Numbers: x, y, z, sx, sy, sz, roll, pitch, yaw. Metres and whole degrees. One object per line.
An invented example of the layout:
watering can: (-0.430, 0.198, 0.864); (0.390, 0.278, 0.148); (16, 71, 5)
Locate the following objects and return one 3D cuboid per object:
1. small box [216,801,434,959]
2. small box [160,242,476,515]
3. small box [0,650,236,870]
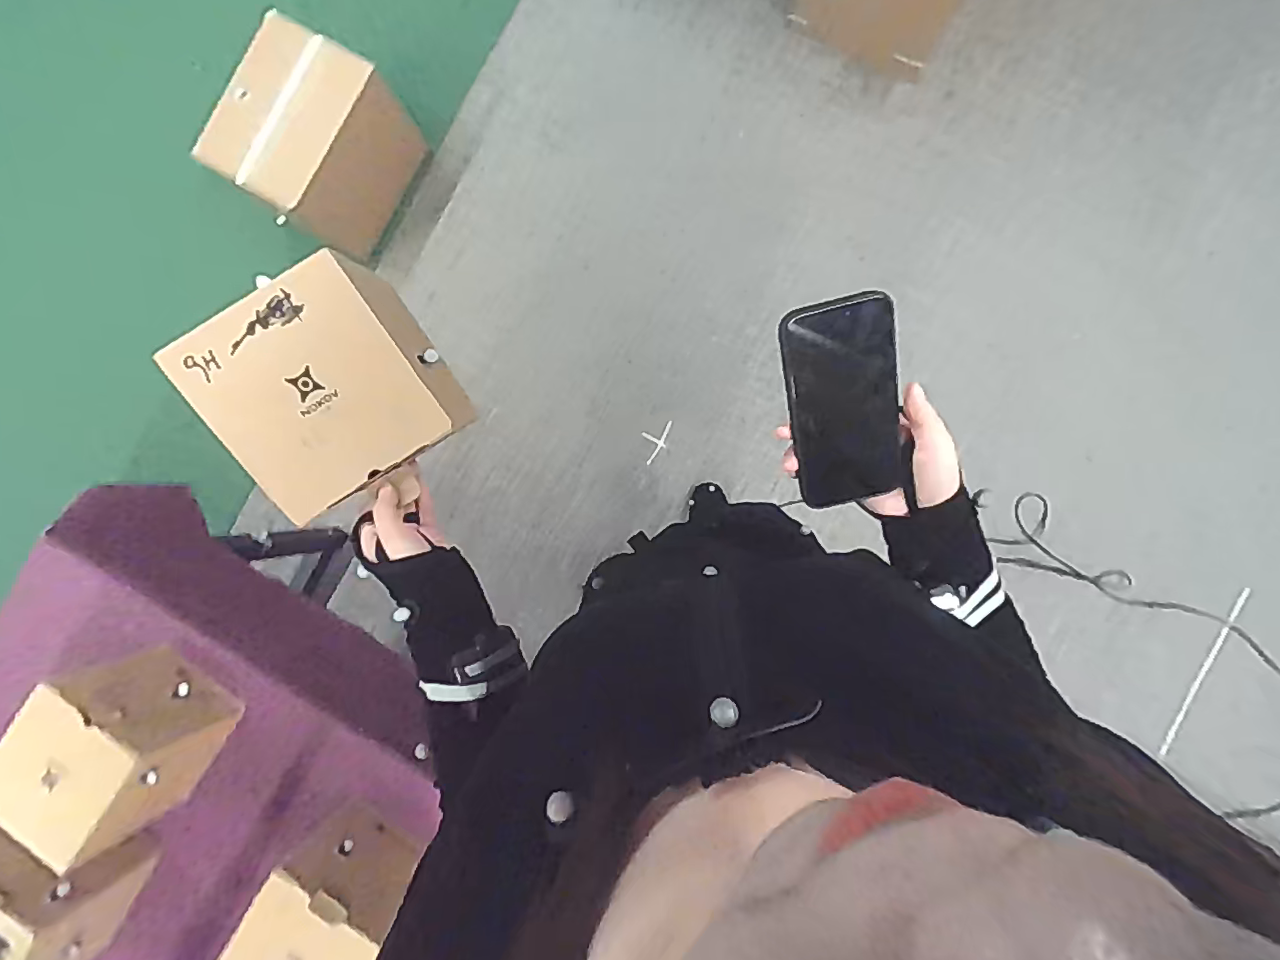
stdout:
small box: (-0.404, 0.576, 0.714); (0.168, 0.176, 0.179); (32, 91, 6)
small box: (-0.283, -0.098, 0.530); (0.168, 0.176, 0.179); (-32, 105, -1)
small box: (-0.720, 0.368, 0.747); (0.168, 0.176, 0.179); (34, 90, 5)
